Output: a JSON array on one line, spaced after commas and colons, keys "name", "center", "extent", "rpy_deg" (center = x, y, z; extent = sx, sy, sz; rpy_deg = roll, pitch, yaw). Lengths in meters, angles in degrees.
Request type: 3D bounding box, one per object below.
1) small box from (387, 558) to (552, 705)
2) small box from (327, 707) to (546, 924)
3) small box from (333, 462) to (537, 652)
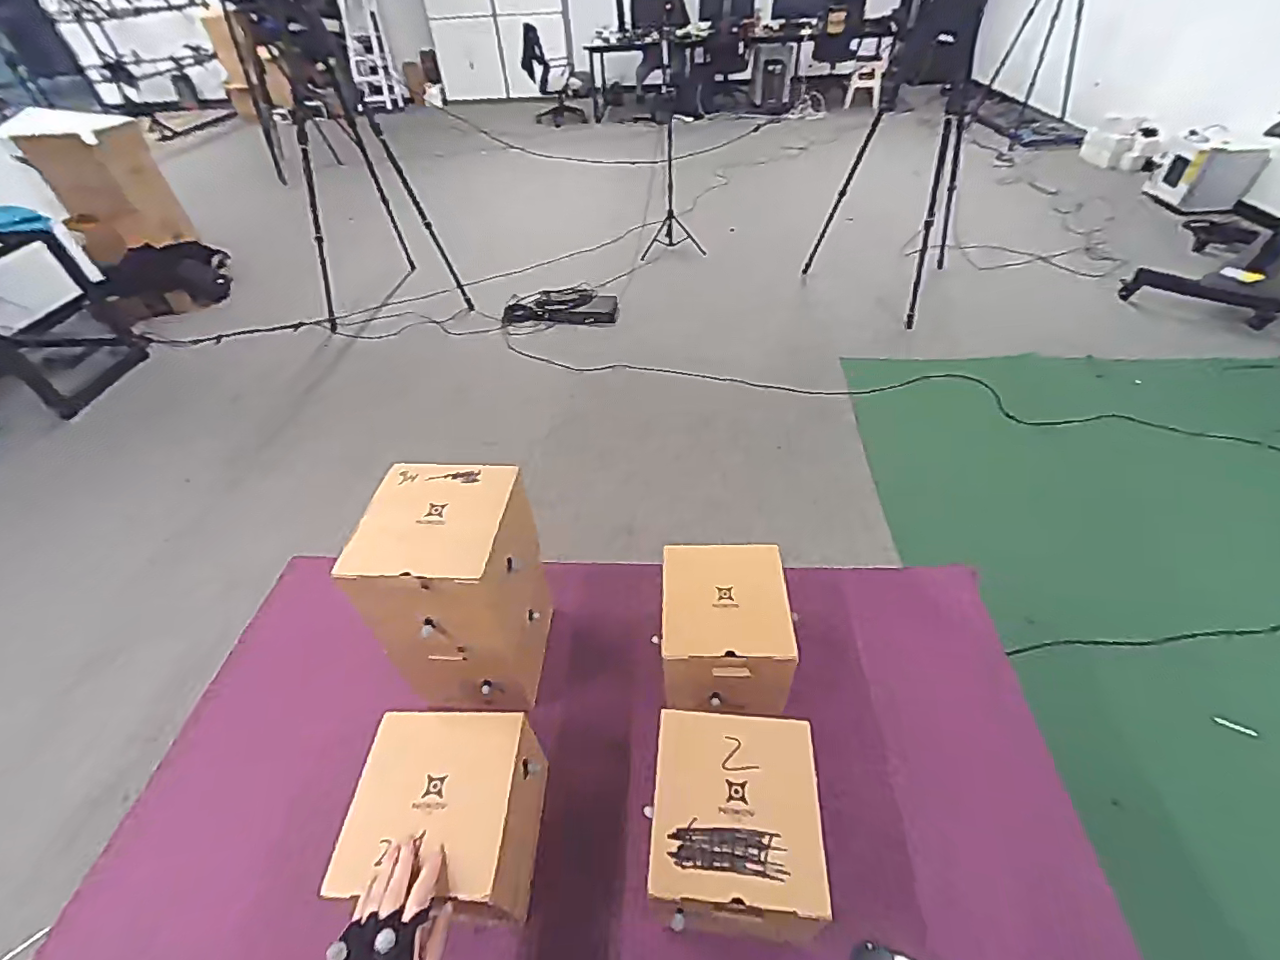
[{"name": "small box", "center": [-0.232, 0.213, 0.795], "extent": [0.168, 0.176, 0.179], "rpy_deg": [1, 45, 4]}, {"name": "small box", "center": [-0.210, 0.382, 0.621], "extent": [0.168, 0.176, 0.179], "rpy_deg": [-1, 44, 4]}, {"name": "small box", "center": [-0.234, 0.098, 0.677], "extent": [0.168, 0.176, 0.179], "rpy_deg": [2, 46, 4]}]
